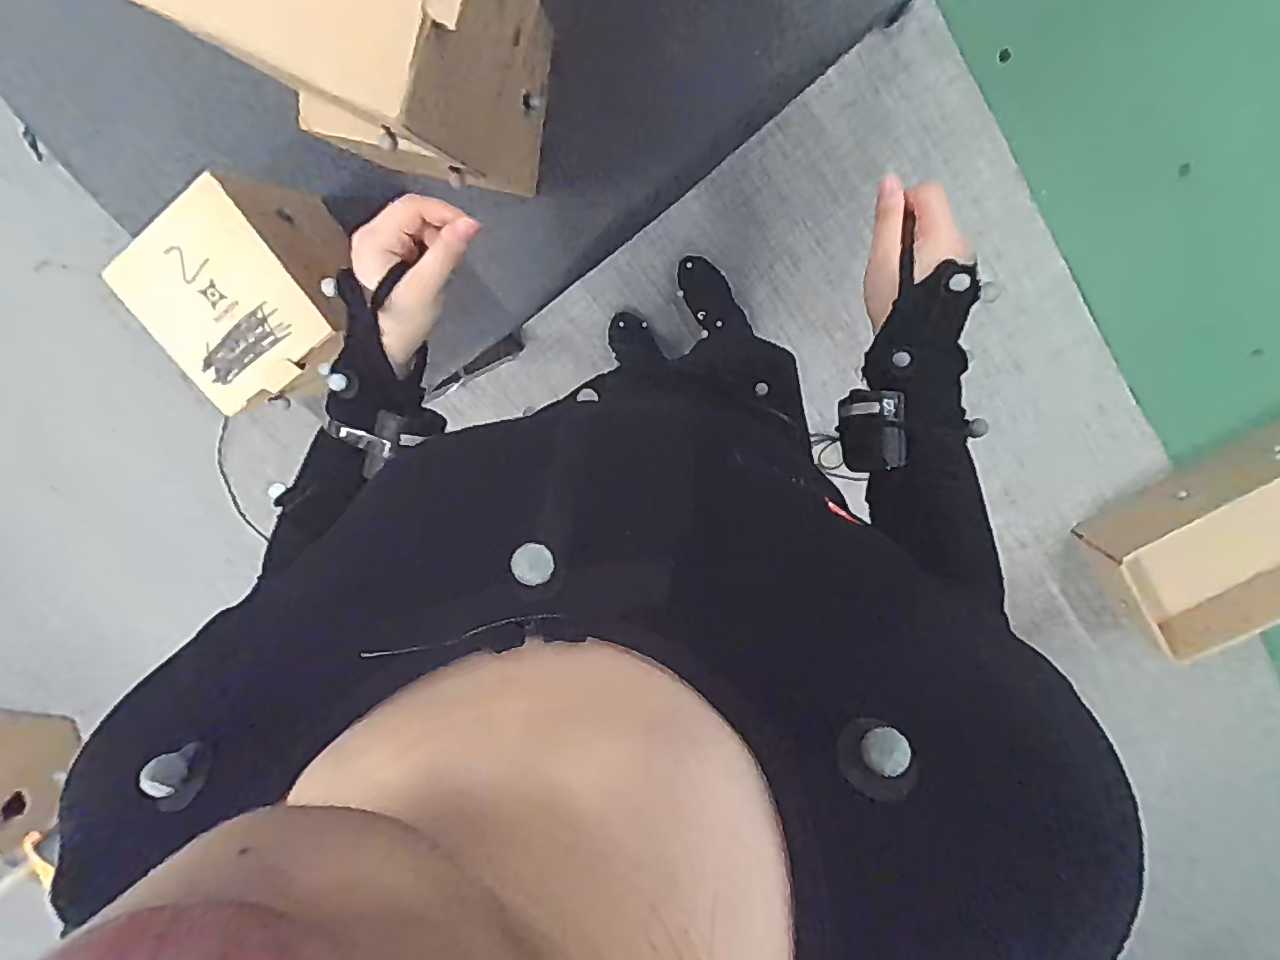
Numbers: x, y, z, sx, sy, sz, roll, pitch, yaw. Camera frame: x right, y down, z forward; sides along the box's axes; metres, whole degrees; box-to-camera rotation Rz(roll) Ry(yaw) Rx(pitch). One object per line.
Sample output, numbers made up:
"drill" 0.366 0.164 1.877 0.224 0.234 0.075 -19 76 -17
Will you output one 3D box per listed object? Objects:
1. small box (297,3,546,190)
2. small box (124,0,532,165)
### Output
"small box" -0.197 -0.396 0.525 0.179 0.176 0.168 11 110 -1
"small box" -0.188 -0.343 0.371 0.179 0.176 0.168 23 109 -5
